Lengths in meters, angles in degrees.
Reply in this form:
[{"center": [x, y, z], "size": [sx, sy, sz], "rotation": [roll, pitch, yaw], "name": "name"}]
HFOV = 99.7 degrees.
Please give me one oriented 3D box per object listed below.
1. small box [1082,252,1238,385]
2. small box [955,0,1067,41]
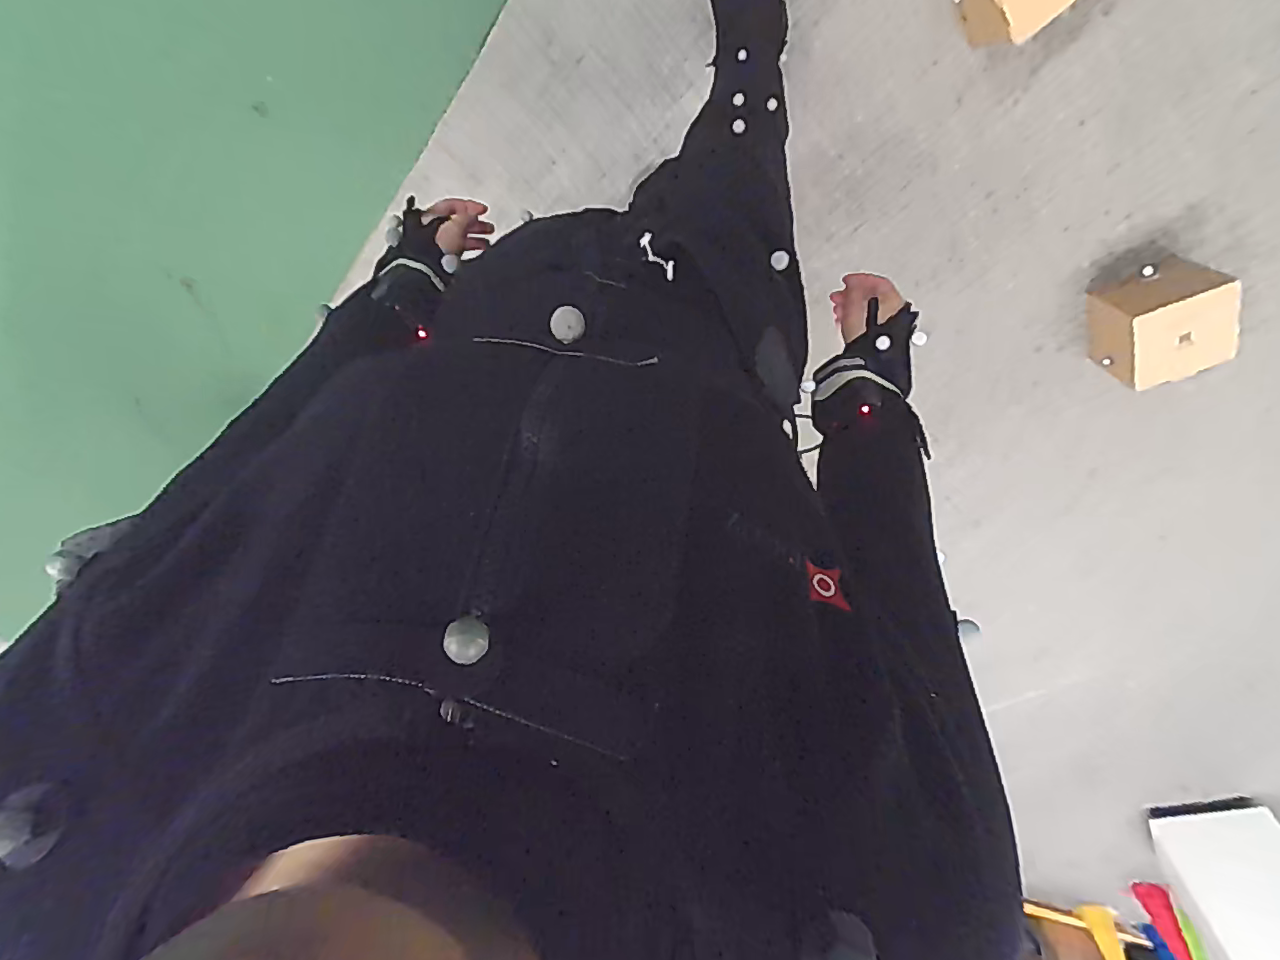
[{"center": [1.037, -0.328, 1.092], "size": [0.168, 0.176, 0.179], "rotation": [-22, 121, 20], "name": "small box"}, {"center": [0.577, -0.794, 0.793], "size": [0.179, 0.176, 0.168], "rotation": [-33, 117, 28], "name": "small box"}]
